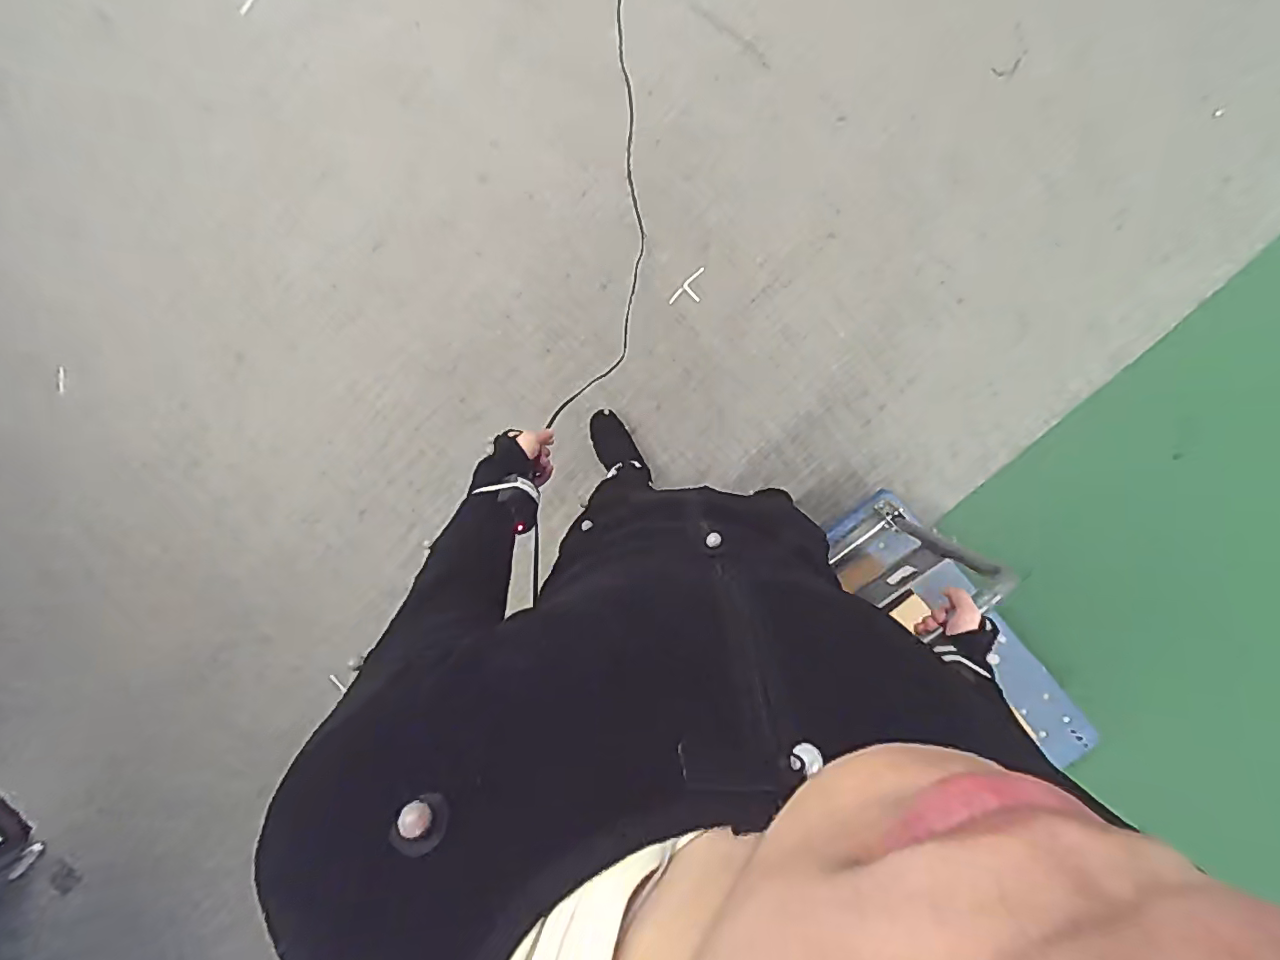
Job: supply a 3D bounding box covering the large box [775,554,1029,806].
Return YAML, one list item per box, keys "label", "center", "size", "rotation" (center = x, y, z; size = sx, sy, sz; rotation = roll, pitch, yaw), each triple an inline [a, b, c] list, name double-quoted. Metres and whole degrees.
- label: "large box"
  center: [0.587, 0.450, 1.295]
  size: [0.320, 0.320, 0.408]
  rotation: [-40, 92, 10]
